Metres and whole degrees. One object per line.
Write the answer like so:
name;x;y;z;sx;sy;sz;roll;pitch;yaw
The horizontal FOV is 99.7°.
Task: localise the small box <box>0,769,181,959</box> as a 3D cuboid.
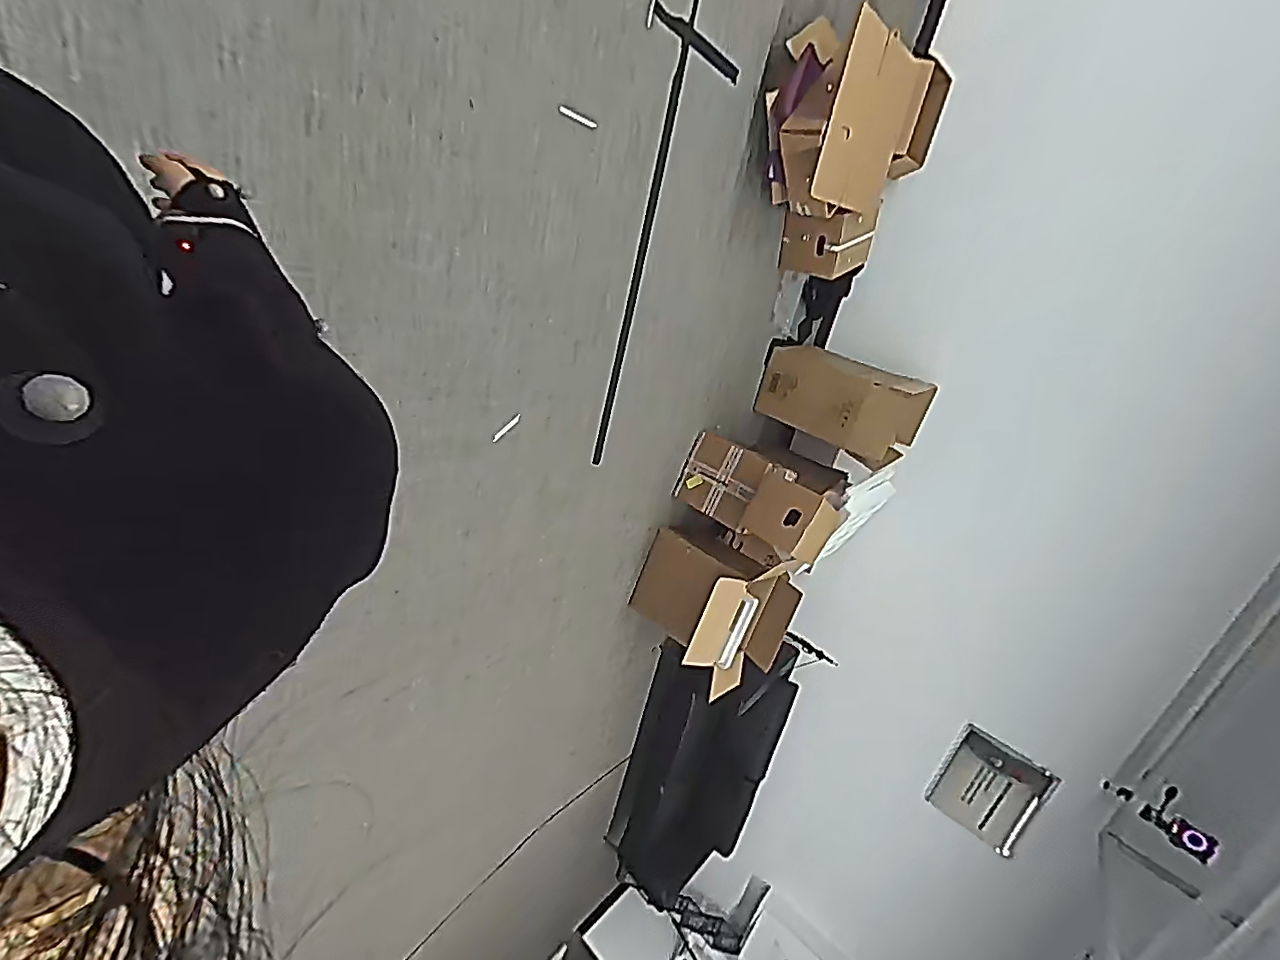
small box;-0.678;0.482;0.639;0.168;0.176;0.179;-14;125;-48
